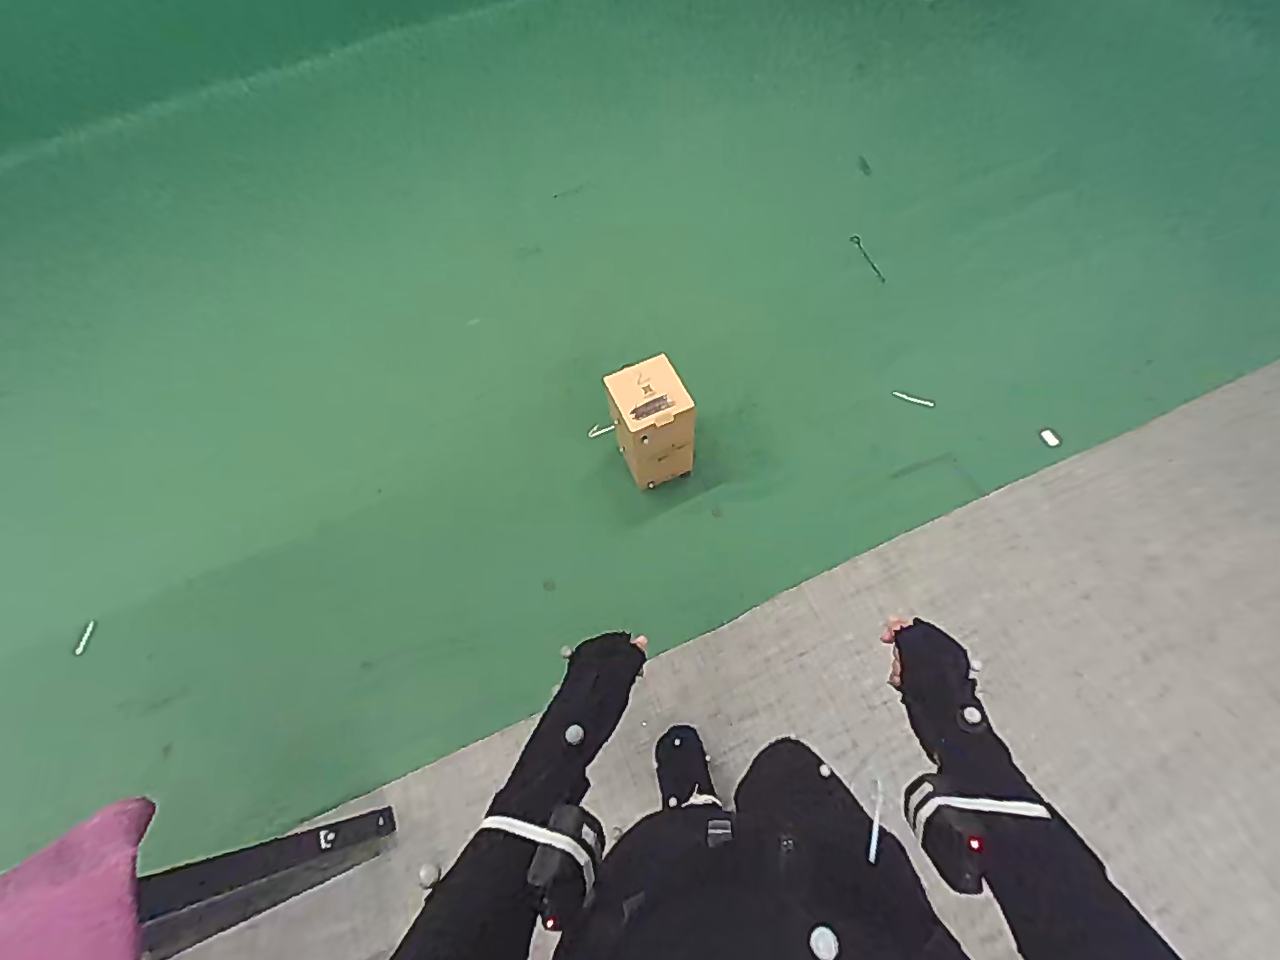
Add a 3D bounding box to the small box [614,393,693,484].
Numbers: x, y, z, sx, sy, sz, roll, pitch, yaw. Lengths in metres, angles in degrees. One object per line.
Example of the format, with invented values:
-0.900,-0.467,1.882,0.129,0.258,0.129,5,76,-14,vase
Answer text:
0.041,-0.106,1.509,0.168,0.176,0.179,-23,65,-7,small box
